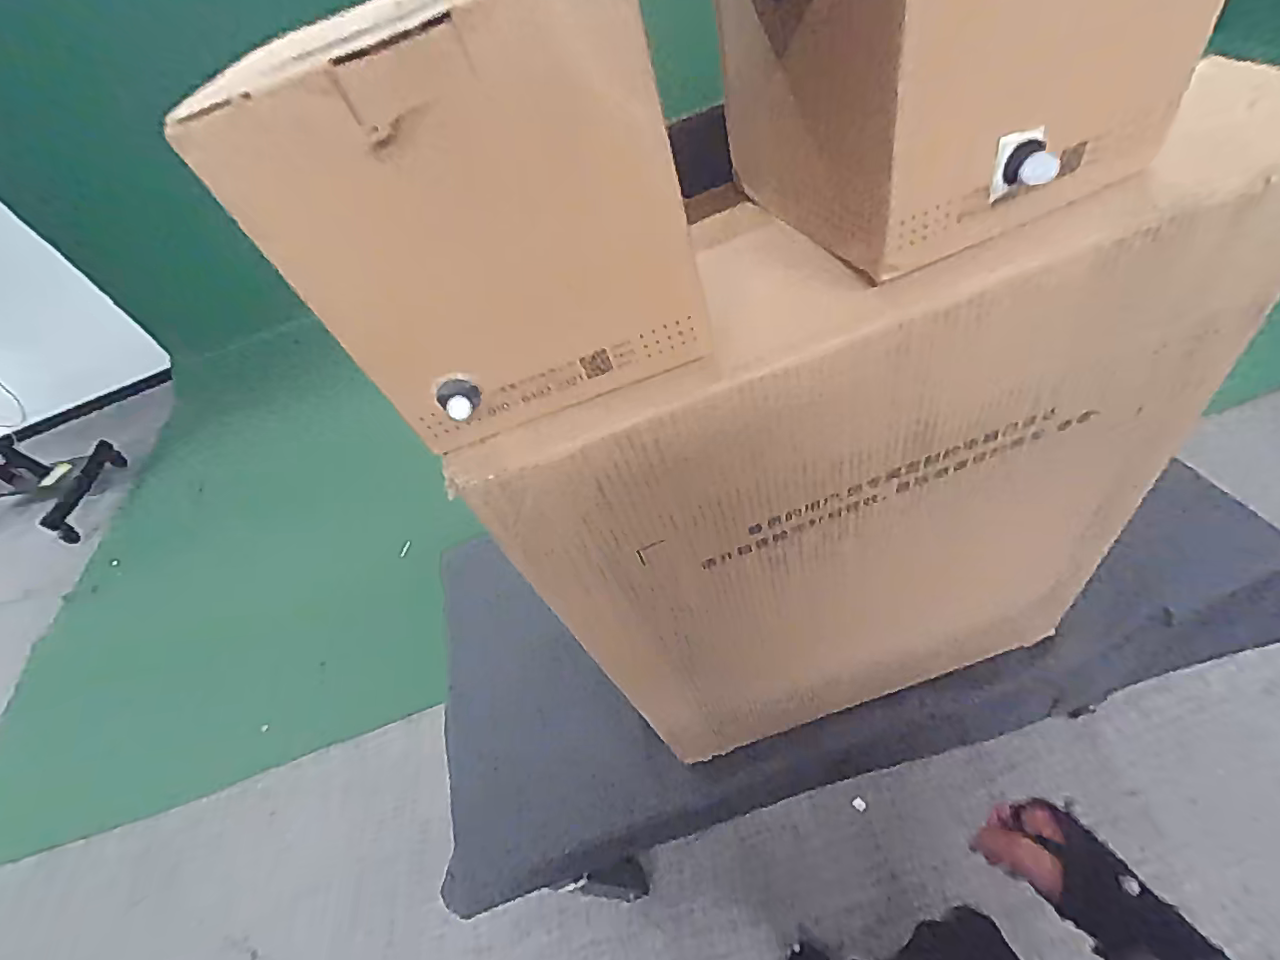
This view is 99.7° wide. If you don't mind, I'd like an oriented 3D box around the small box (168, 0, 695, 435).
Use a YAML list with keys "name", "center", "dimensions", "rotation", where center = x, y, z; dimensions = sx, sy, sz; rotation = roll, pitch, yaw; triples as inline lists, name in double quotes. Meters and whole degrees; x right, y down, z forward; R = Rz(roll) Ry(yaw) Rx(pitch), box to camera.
- name: "small box"
  center: [-0.080, -0.145, 0.293]
  dimensions: [0.168, 0.176, 0.179]
  rotation: [-20, 47, 4]

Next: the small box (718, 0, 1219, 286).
- name: "small box"
  center: [0.149, -0.234, 0.284]
  dimensions: [0.168, 0.176, 0.179]
  rotation: [-26, 49, -1]
